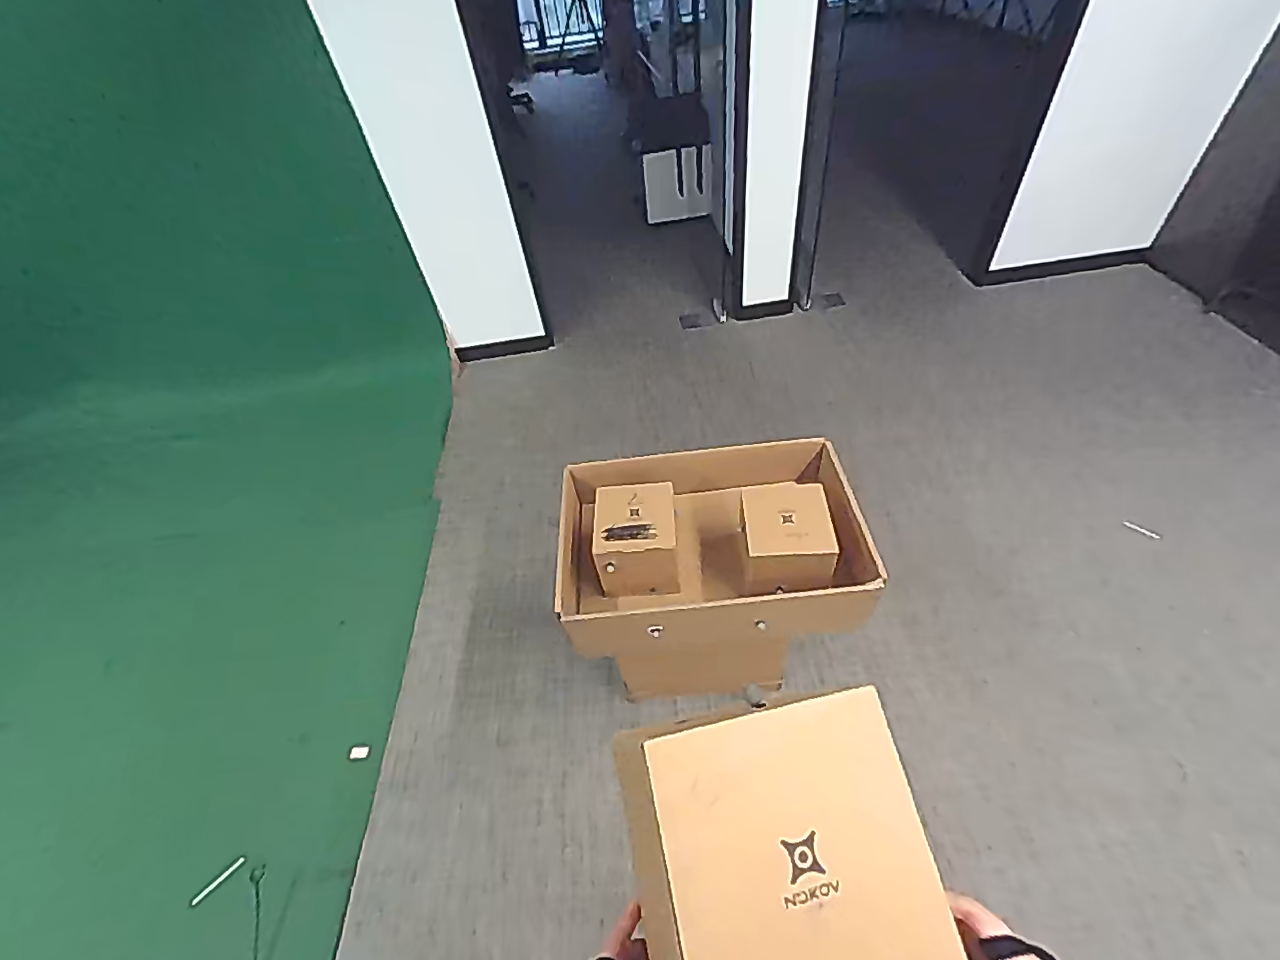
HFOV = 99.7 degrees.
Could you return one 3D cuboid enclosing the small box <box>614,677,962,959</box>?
[{"bbox_3d":[0.082,0.254,0.395,0.168,0.176,0.179,-7,69,-13],"label":"small box"}]
